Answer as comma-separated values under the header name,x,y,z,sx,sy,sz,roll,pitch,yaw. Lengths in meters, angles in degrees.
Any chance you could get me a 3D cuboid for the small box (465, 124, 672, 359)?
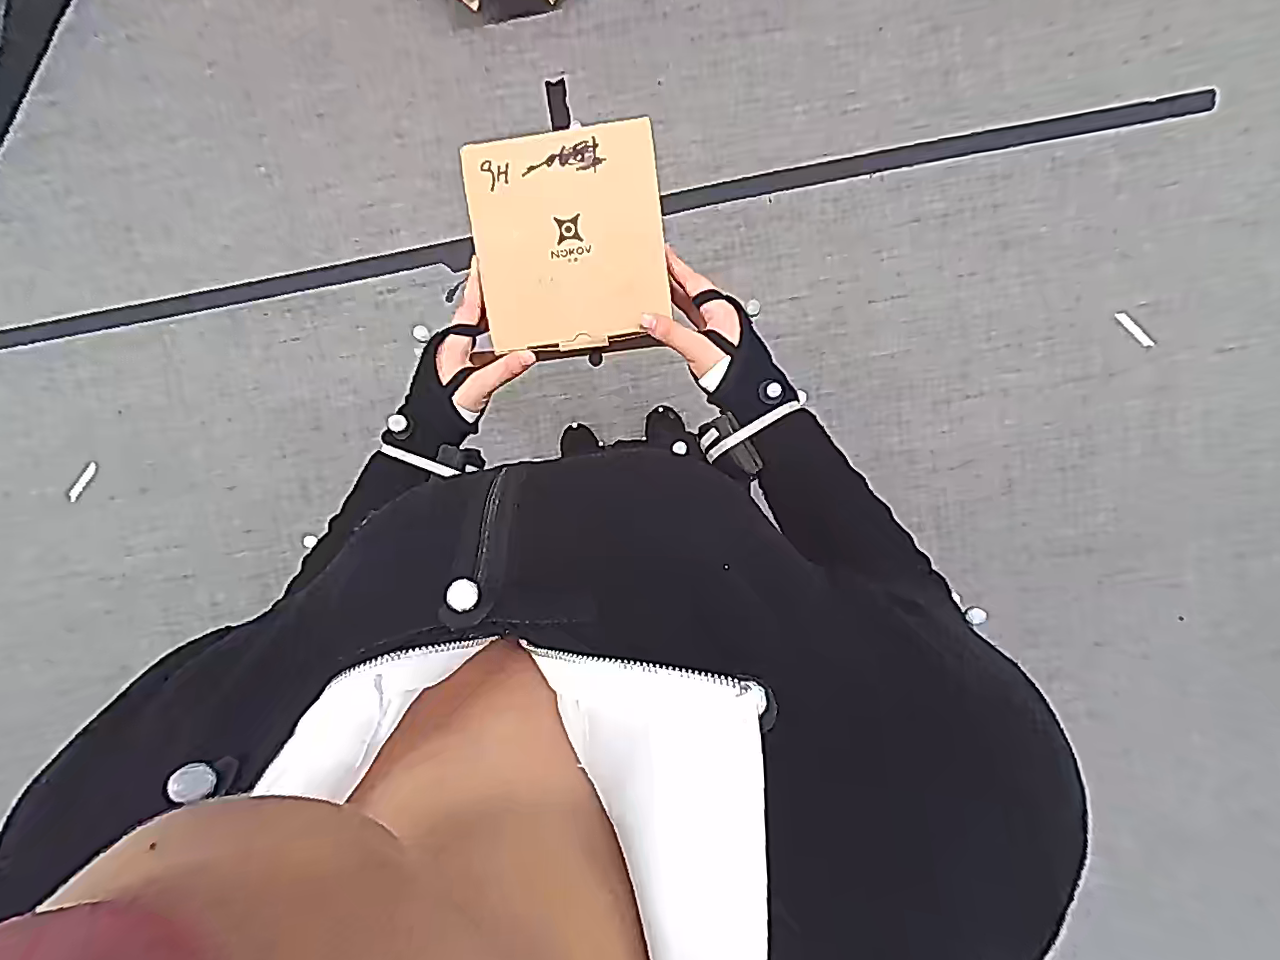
name,x,y,z,sx,sy,sz,roll,pitch,yaw
small box,-0.055,-0.219,0.547,0.168,0.176,0.179,-6,101,3
